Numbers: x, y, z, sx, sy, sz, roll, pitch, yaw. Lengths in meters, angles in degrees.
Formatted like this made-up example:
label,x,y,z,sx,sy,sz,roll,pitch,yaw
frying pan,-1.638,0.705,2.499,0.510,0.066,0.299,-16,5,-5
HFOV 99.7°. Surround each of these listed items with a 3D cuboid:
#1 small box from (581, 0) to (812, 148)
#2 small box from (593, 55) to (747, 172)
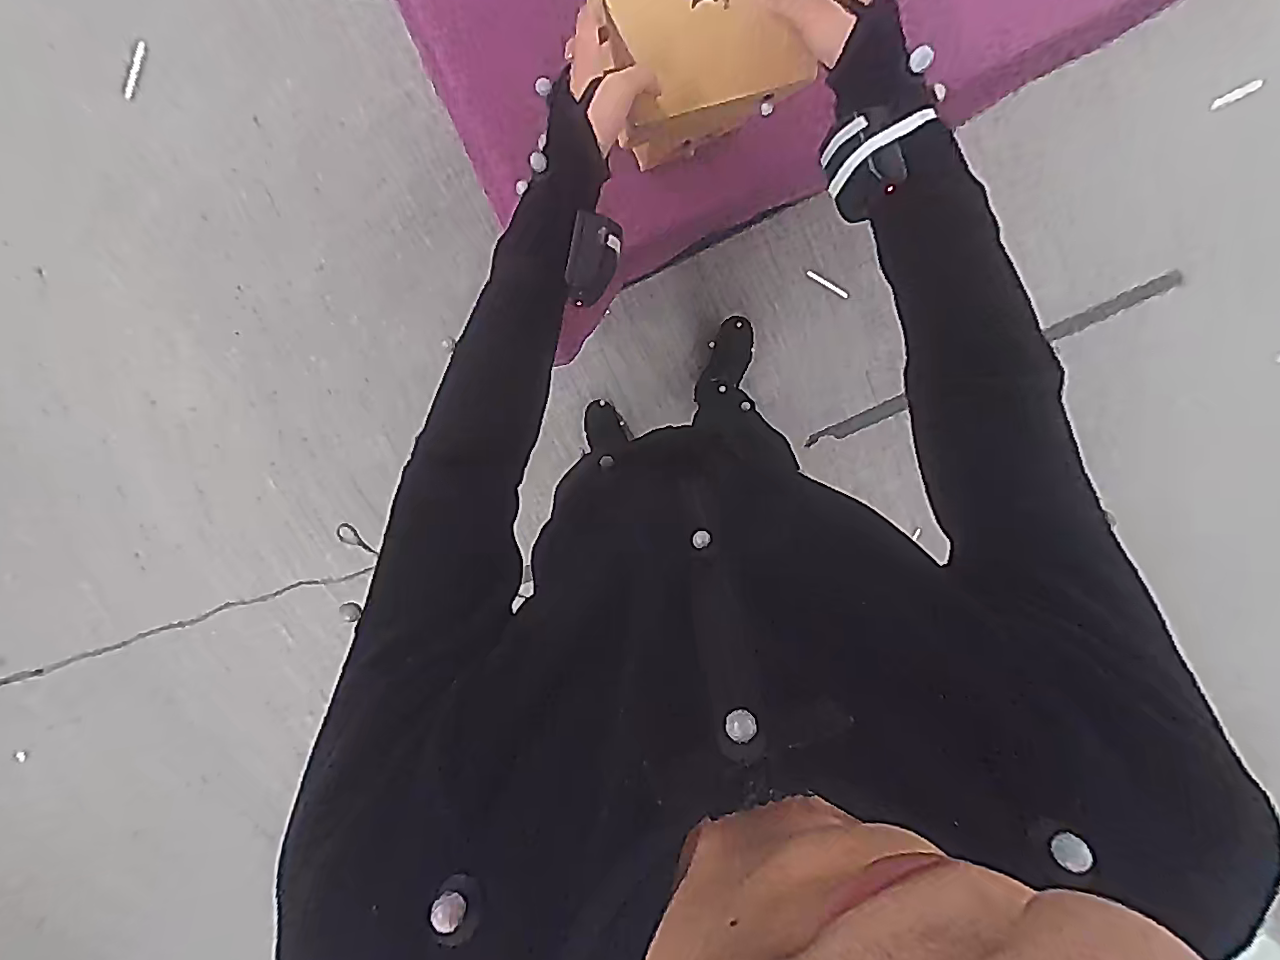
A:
label,x,y,z,sx,sy,sz,roll,pitch,yaw
small box,0.041,-0.434,0.512,0.179,0.176,0.168,-16,116,1
small box,0.043,-0.539,0.694,0.168,0.176,0.179,-24,102,2
